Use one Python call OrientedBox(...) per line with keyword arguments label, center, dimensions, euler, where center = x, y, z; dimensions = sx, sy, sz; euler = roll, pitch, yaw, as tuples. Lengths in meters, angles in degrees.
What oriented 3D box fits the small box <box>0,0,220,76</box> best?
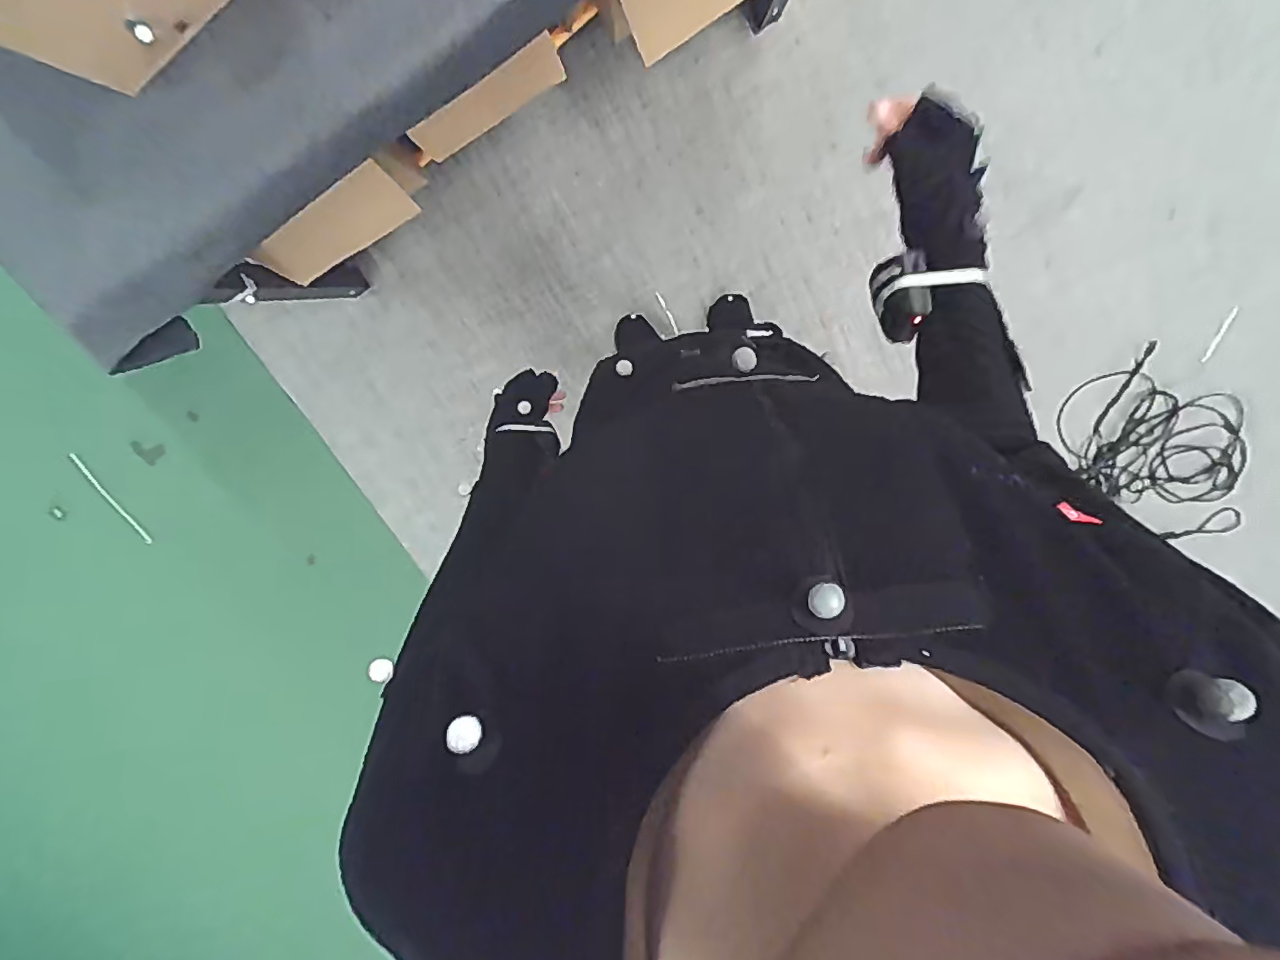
OrientedBox(label="small box", center=(-0.543, -0.520, 0.483), dimensions=(0.168, 0.176, 0.179), euler=(-32, 107, 12))
